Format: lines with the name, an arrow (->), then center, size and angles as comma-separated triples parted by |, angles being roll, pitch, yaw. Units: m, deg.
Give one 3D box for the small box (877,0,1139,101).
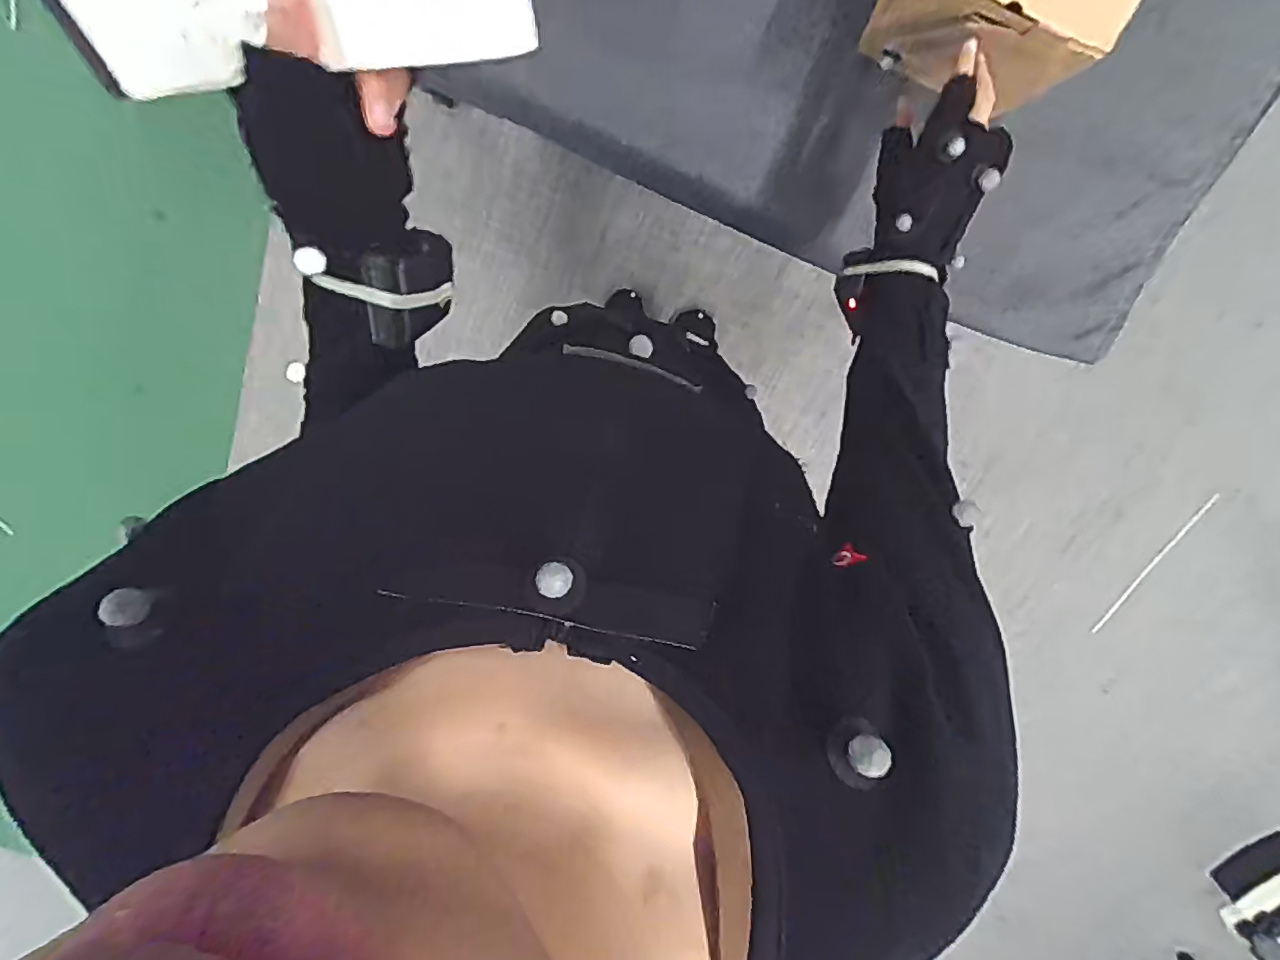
small box -> 0.330, -0.466, 0.459 | 0.168, 0.176, 0.179 | 23, 110, -4
